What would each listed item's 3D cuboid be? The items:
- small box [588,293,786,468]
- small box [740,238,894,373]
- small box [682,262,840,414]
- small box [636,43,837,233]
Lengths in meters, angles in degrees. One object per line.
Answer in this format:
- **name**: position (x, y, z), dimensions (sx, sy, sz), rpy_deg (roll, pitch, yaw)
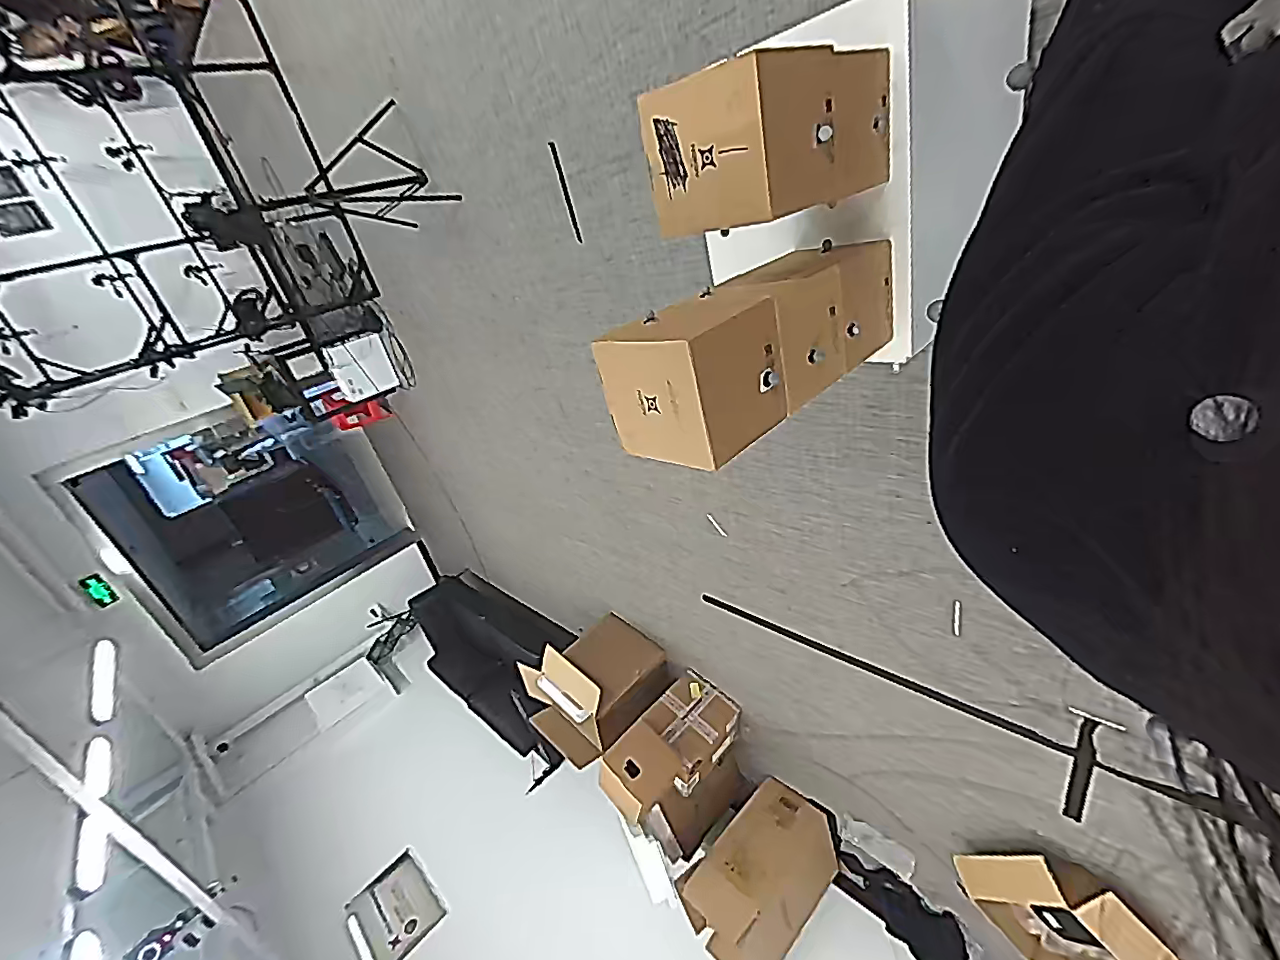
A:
- **small box**: position (0.066, -0.137, 0.713), dimensions (0.179, 0.176, 0.168), rpy_deg (13, 129, 46)
- **small box**: position (0.293, -0.288, 0.891), dimensions (0.179, 0.176, 0.168), rpy_deg (16, 130, 46)
- **small box**: position (0.180, -0.212, 0.801), dimensions (0.179, 0.176, 0.168), rpy_deg (14, 129, 46)
- **small box**: position (0.126, -0.423, 0.682), dimensions (0.179, 0.176, 0.168), rpy_deg (16, 131, 43)
